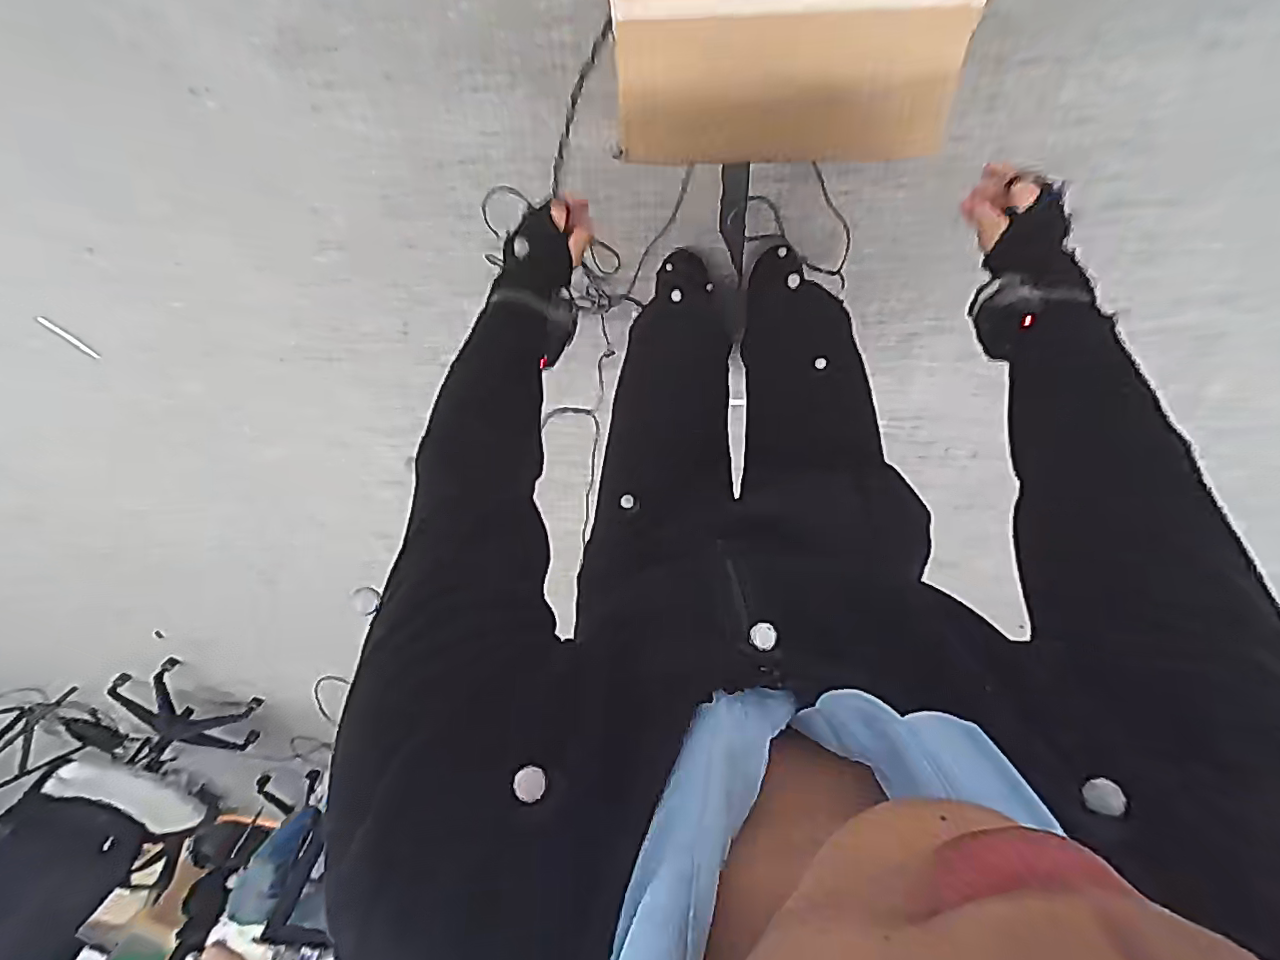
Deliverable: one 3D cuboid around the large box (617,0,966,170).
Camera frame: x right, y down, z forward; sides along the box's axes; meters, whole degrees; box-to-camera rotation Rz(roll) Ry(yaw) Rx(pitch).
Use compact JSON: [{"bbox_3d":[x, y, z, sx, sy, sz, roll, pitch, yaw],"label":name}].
[{"bbox_3d":[0.185,-0.628,0.747,0.408,0.320,0.320,2,124,5],"label":"large box"}]
